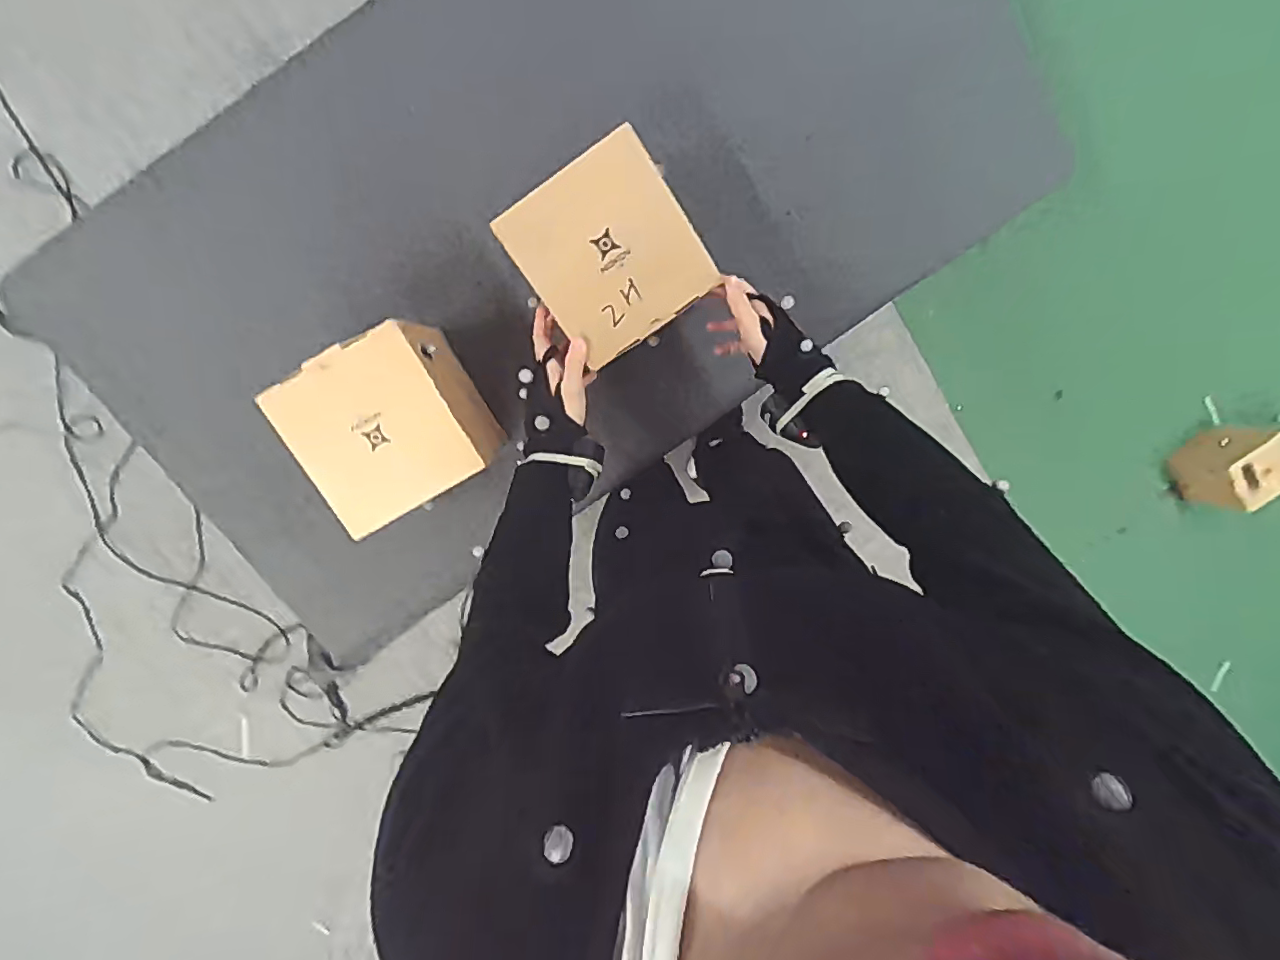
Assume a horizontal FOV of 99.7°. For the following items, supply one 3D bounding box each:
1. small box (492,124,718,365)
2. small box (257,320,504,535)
[{"bbox_3d":[-0.039,-0.245,0.617,0.168,0.176,0.179,-34,102,4],"label":"small box"},{"bbox_3d":[-0.282,-0.067,0.638,0.168,0.176,0.179,-29,101,2],"label":"small box"}]
